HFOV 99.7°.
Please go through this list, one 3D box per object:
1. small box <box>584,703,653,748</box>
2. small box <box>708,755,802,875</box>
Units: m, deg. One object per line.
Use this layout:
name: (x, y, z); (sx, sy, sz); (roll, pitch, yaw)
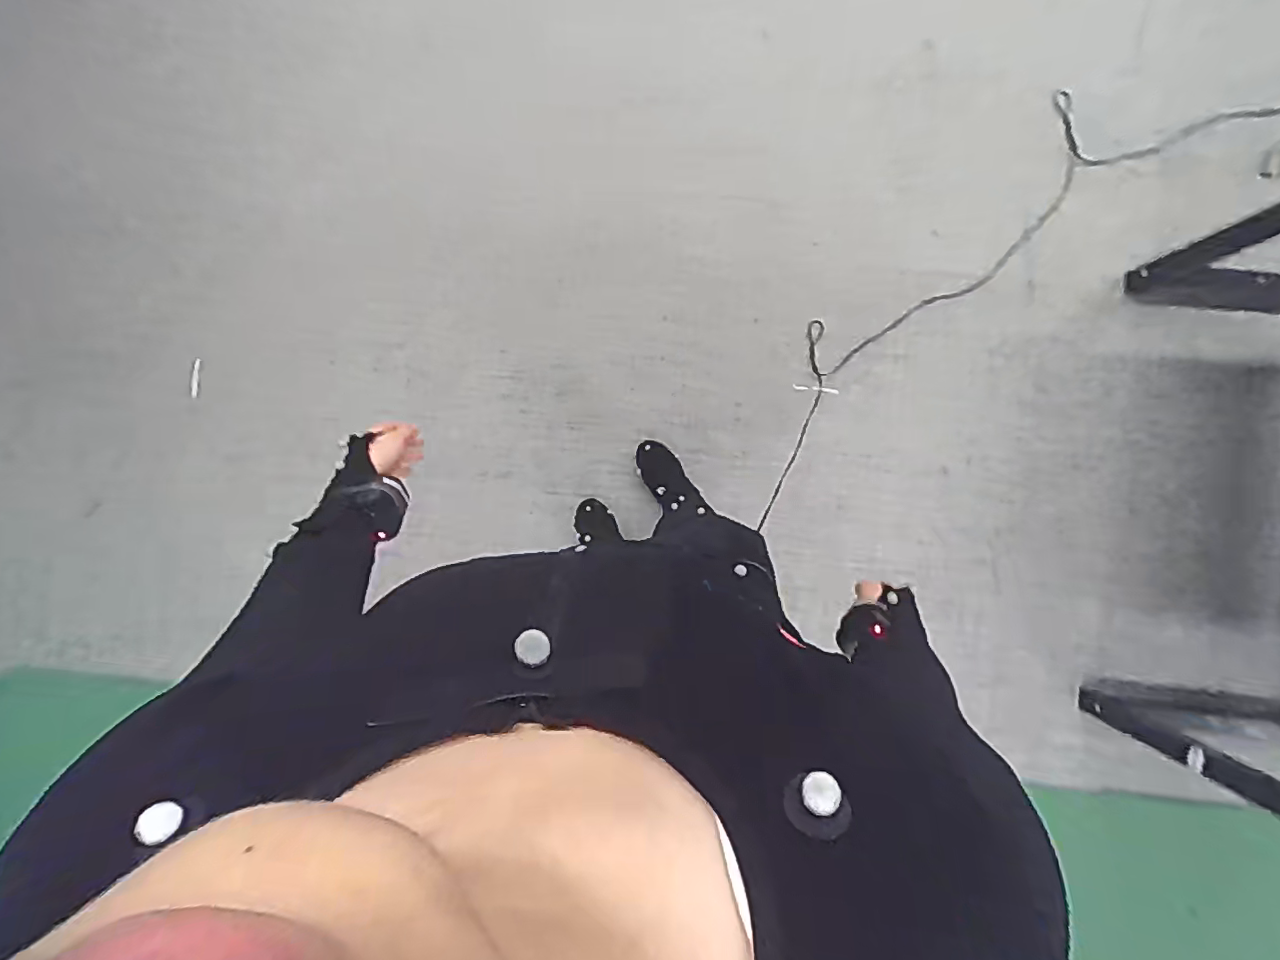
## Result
small box: (-0.063, 0.691, 1.353); (0.168, 0.176, 0.179); (14, 88, 1)
small box: (0.244, 0.719, 1.177); (0.179, 0.176, 0.168); (-1, 88, 4)
